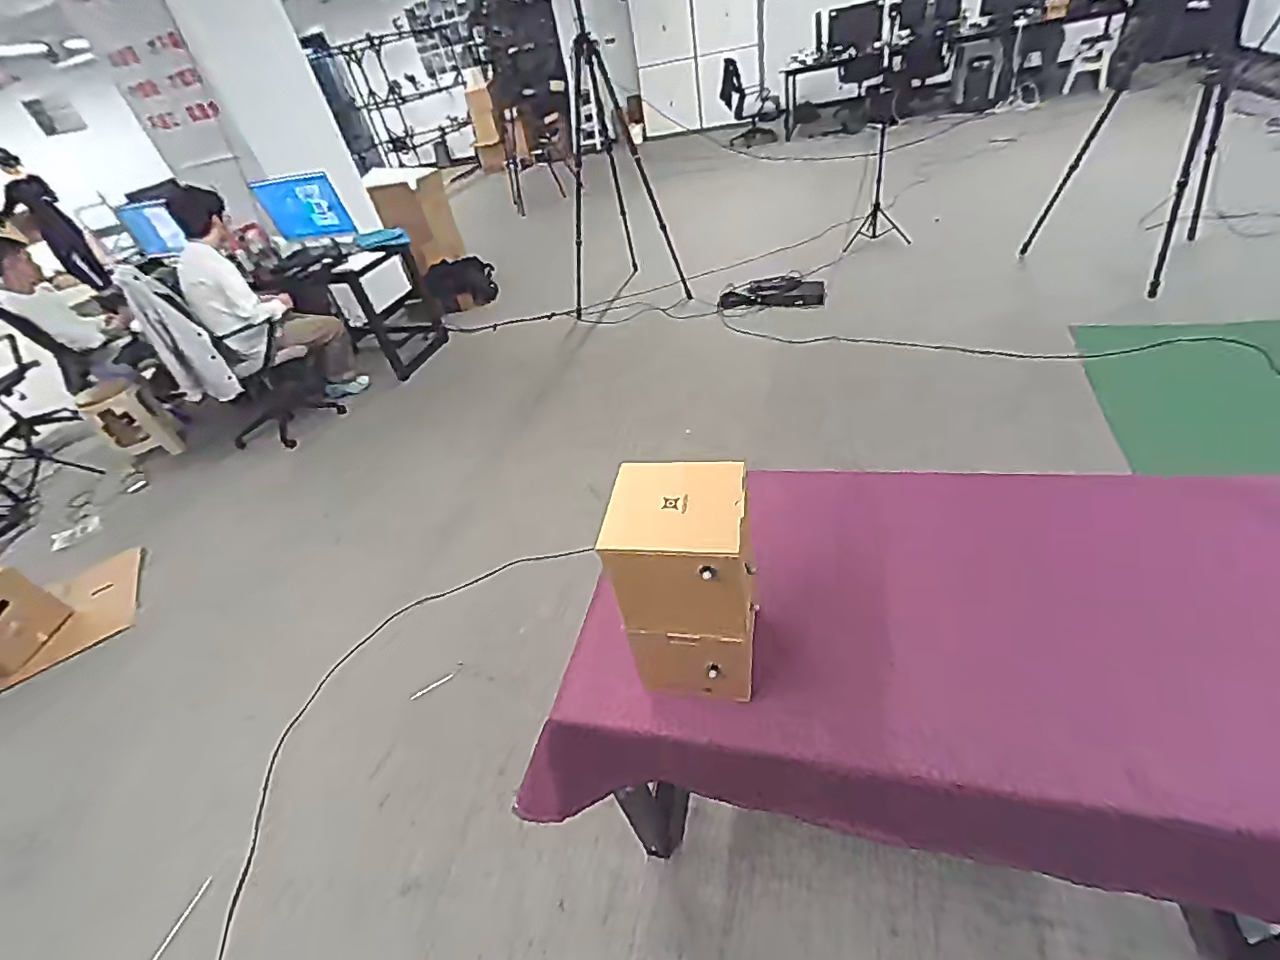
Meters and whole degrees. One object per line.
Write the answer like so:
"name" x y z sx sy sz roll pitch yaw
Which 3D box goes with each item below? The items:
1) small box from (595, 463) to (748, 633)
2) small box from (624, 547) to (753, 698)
"small box" 0.055 0.092 0.739 0.179 0.176 0.168 0 42 13
"small box" 0.086 0.215 0.841 0.168 0.176 0.179 1 41 15
